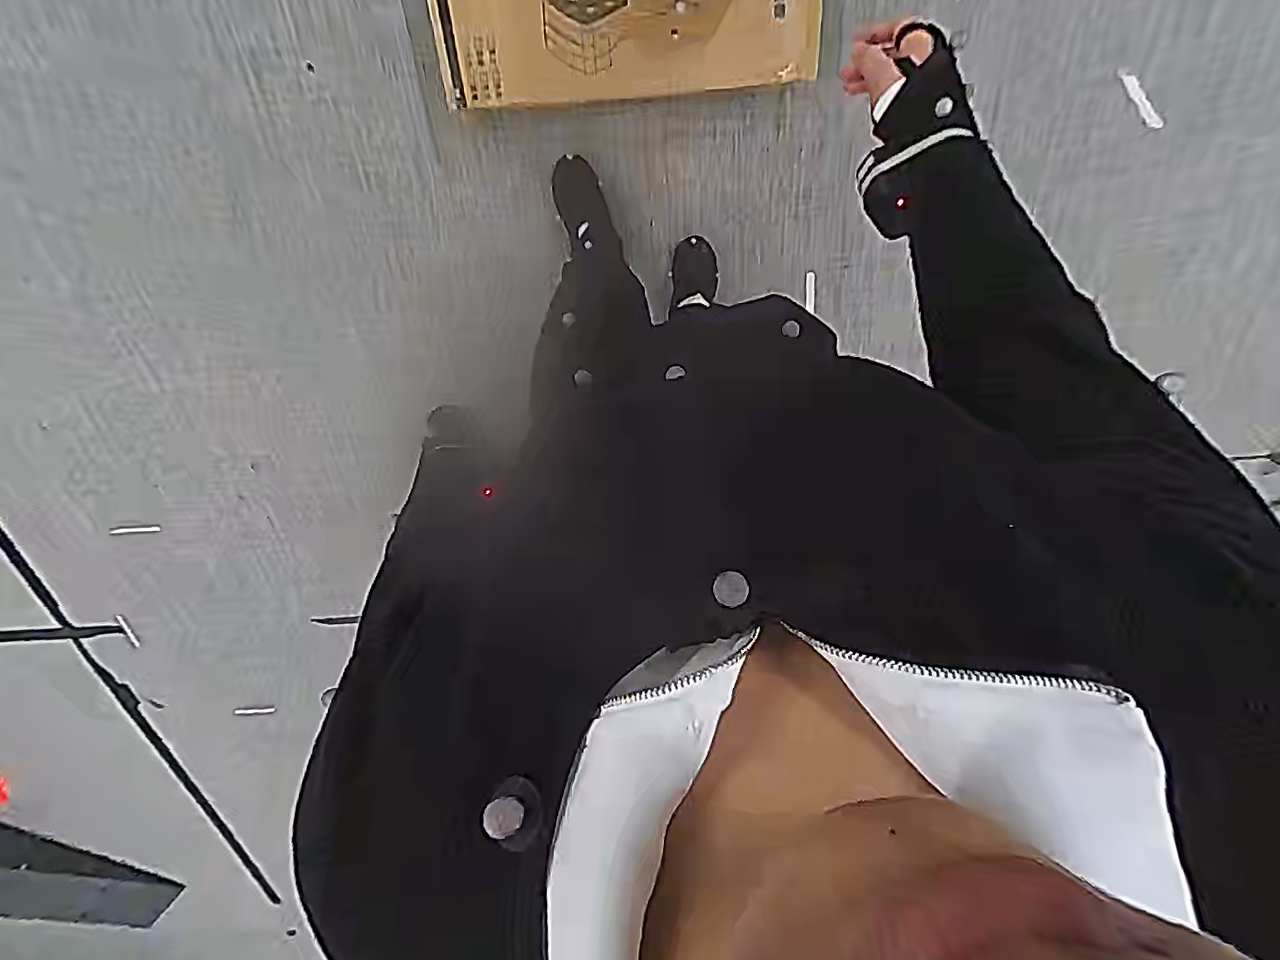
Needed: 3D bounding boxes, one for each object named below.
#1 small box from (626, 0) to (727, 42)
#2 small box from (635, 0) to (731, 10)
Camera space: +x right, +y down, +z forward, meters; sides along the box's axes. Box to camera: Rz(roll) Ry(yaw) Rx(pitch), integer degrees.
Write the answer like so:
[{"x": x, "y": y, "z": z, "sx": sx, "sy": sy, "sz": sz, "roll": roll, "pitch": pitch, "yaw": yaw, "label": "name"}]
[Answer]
[{"x": 0.055, "y": -0.886, "z": 0.923, "sx": 0.168, "sy": 0.176, "sz": 0.179, "roll": -5, "pitch": 117, "yaw": 2, "label": "small box"}, {"x": 0.067, "y": -0.814, "z": 0.775, "sx": 0.168, "sy": 0.176, "sz": 0.179, "roll": -2, "pitch": 117, "yaw": 0, "label": "small box"}]
